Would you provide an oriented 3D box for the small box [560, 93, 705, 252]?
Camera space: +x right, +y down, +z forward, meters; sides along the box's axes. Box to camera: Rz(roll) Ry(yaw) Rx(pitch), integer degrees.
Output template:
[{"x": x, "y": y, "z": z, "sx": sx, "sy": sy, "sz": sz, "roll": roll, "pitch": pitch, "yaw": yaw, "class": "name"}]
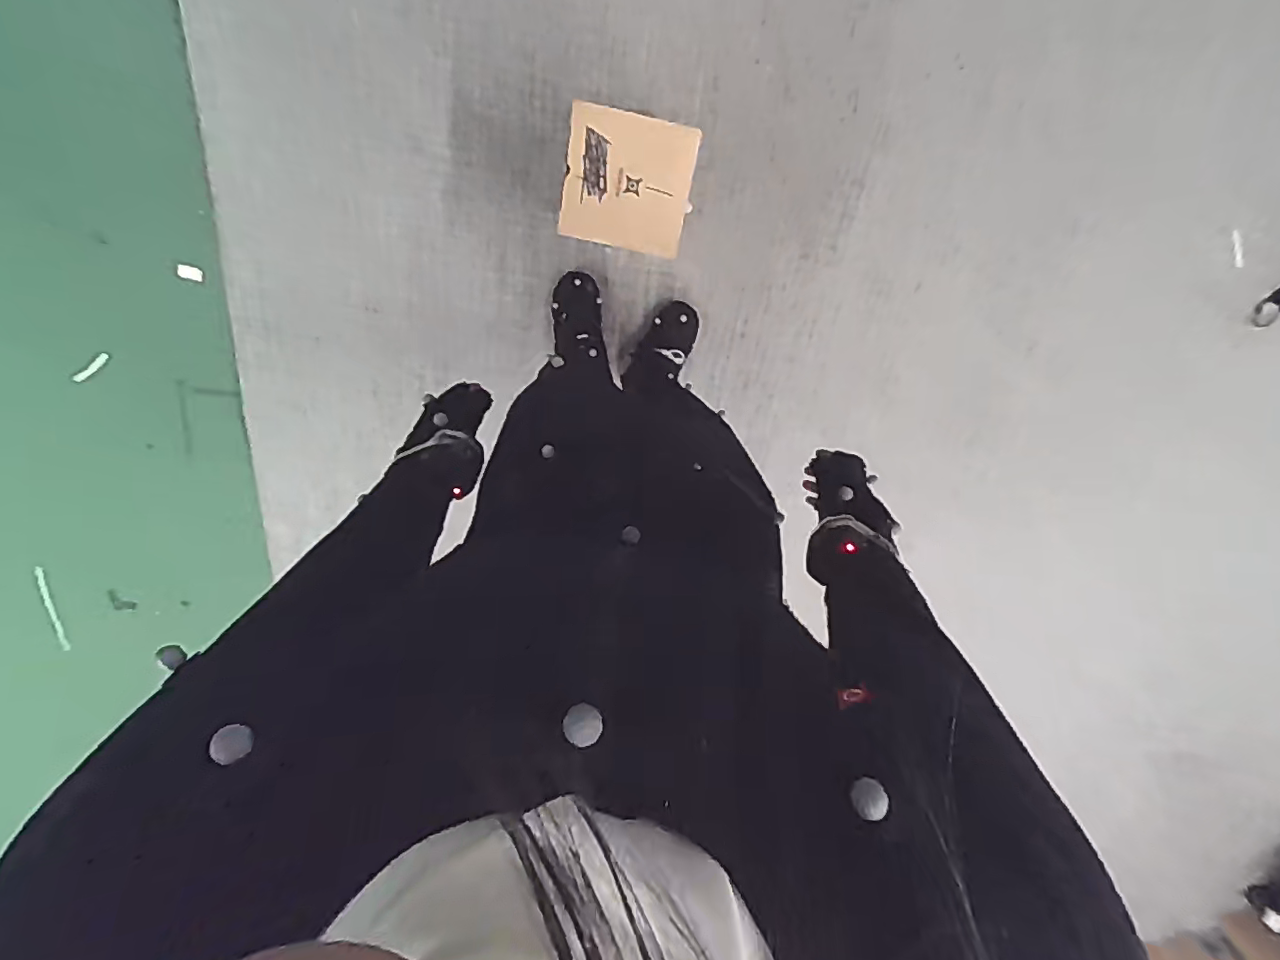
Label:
[{"x": -0.013, "y": -0.450, "z": 0.815, "sx": 0.179, "sy": 0.176, "sz": 0.168, "roll": 11, "pitch": 115, "yaw": -5, "class": "small box"}]
